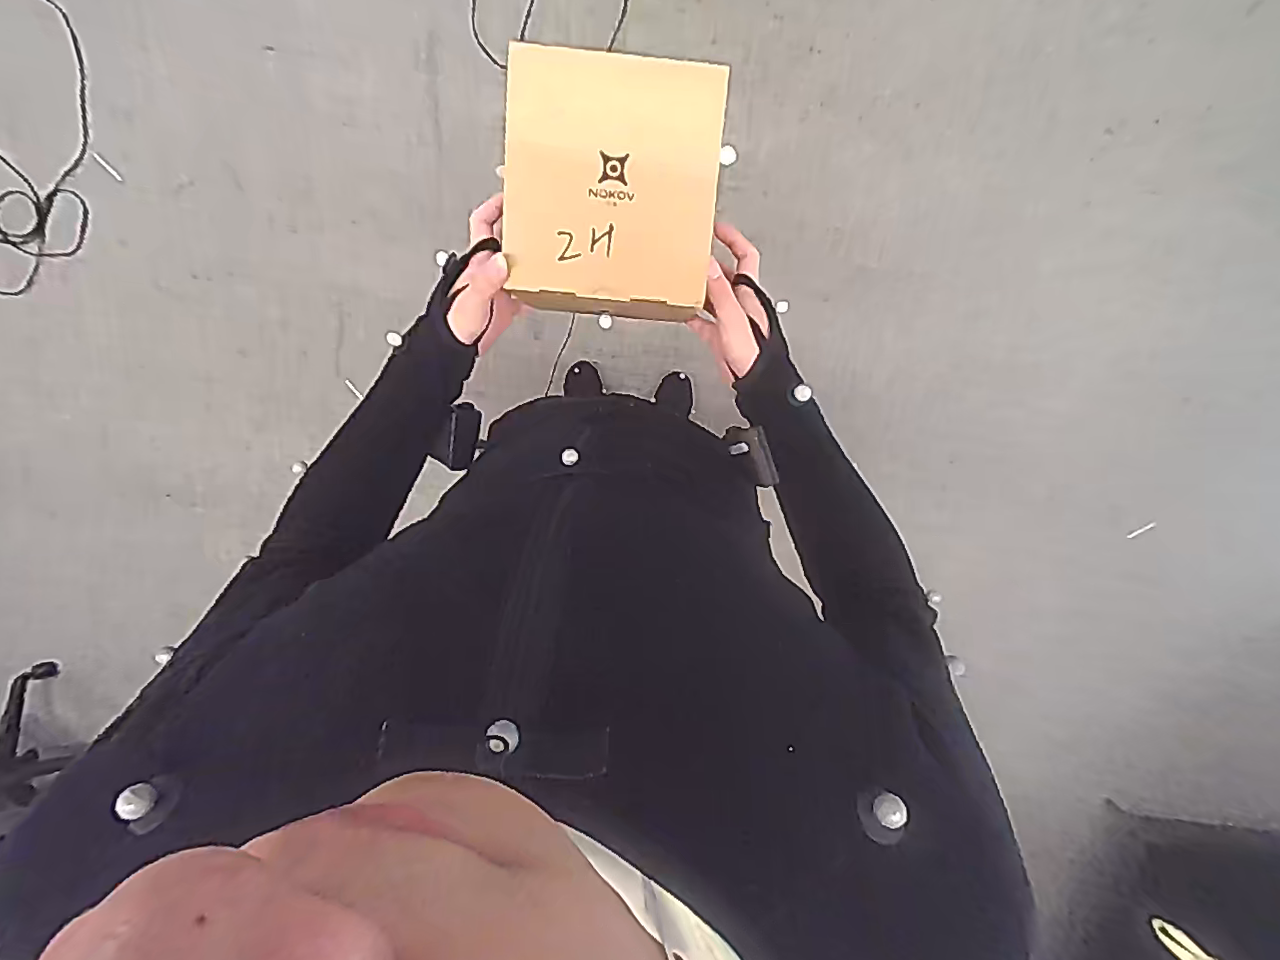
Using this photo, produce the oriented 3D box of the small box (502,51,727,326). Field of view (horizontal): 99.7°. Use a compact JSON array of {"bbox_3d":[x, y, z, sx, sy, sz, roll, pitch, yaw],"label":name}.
[{"bbox_3d":[-0.026,-0.247,0.506,0.168,0.176,0.179,6,103,-3],"label":"small box"}]
